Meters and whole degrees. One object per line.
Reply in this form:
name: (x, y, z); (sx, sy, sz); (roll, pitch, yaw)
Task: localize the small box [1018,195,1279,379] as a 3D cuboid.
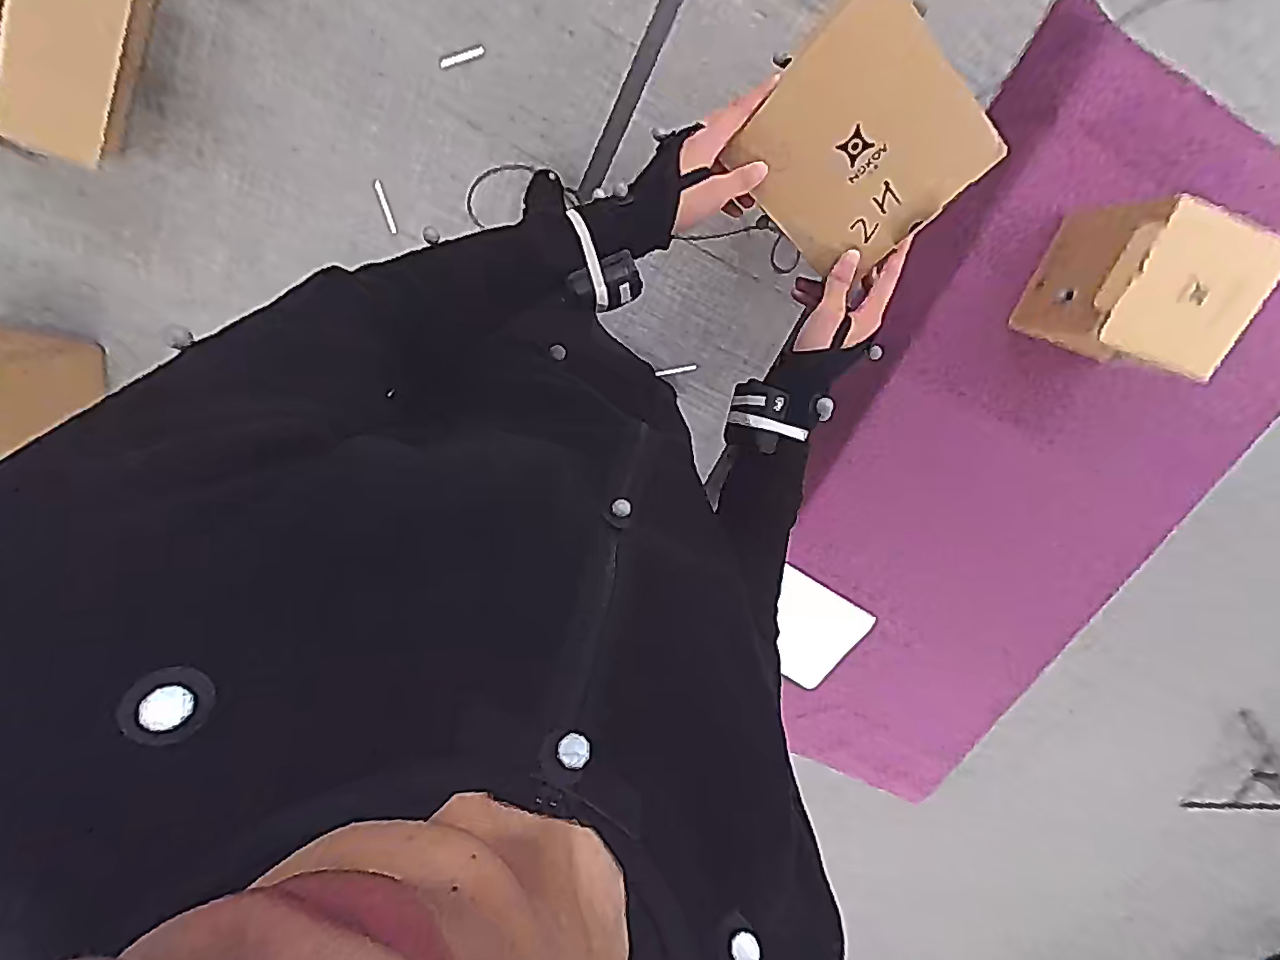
small box: (0.661, -0.251, 0.716); (0.179, 0.176, 0.168); (17, 111, -8)

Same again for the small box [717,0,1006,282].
small box: (0.189, -0.327, 0.512); (0.179, 0.176, 0.168); (38, 123, -19)
